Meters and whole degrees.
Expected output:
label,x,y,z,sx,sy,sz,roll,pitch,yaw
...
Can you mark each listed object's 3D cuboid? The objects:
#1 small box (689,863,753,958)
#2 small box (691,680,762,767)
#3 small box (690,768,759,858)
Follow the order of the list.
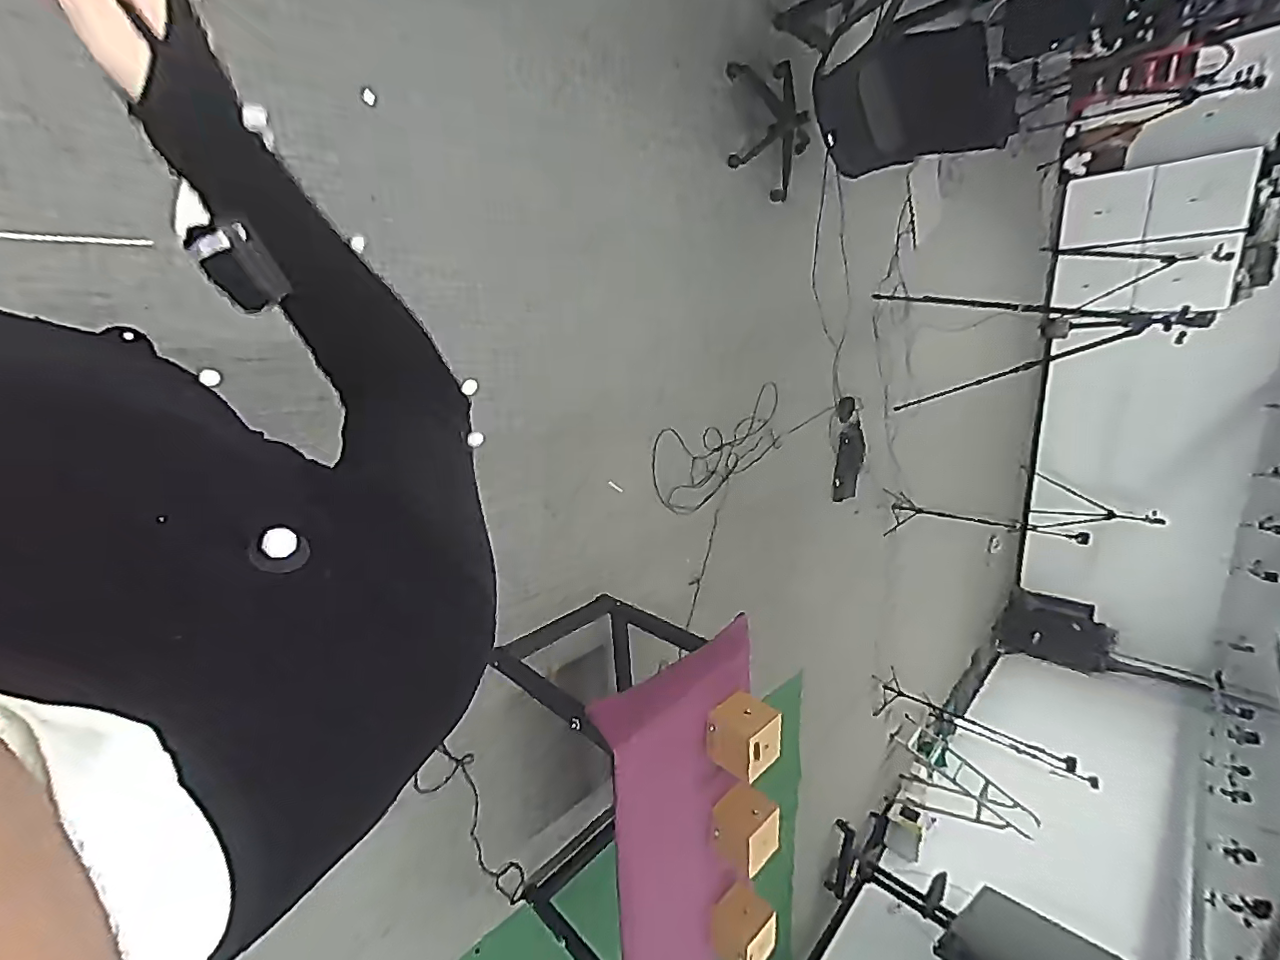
label,x,y,z,sx,sy,sz,roll,pitch,yaw
small box,0.299,1.578,1.997,0.179,0.176,0.168,-16,110,-44
small box,0.281,0.793,1.780,0.179,0.176,0.168,-15,111,-43
small box,0.295,1.154,1.891,0.179,0.176,0.168,-13,108,-43
